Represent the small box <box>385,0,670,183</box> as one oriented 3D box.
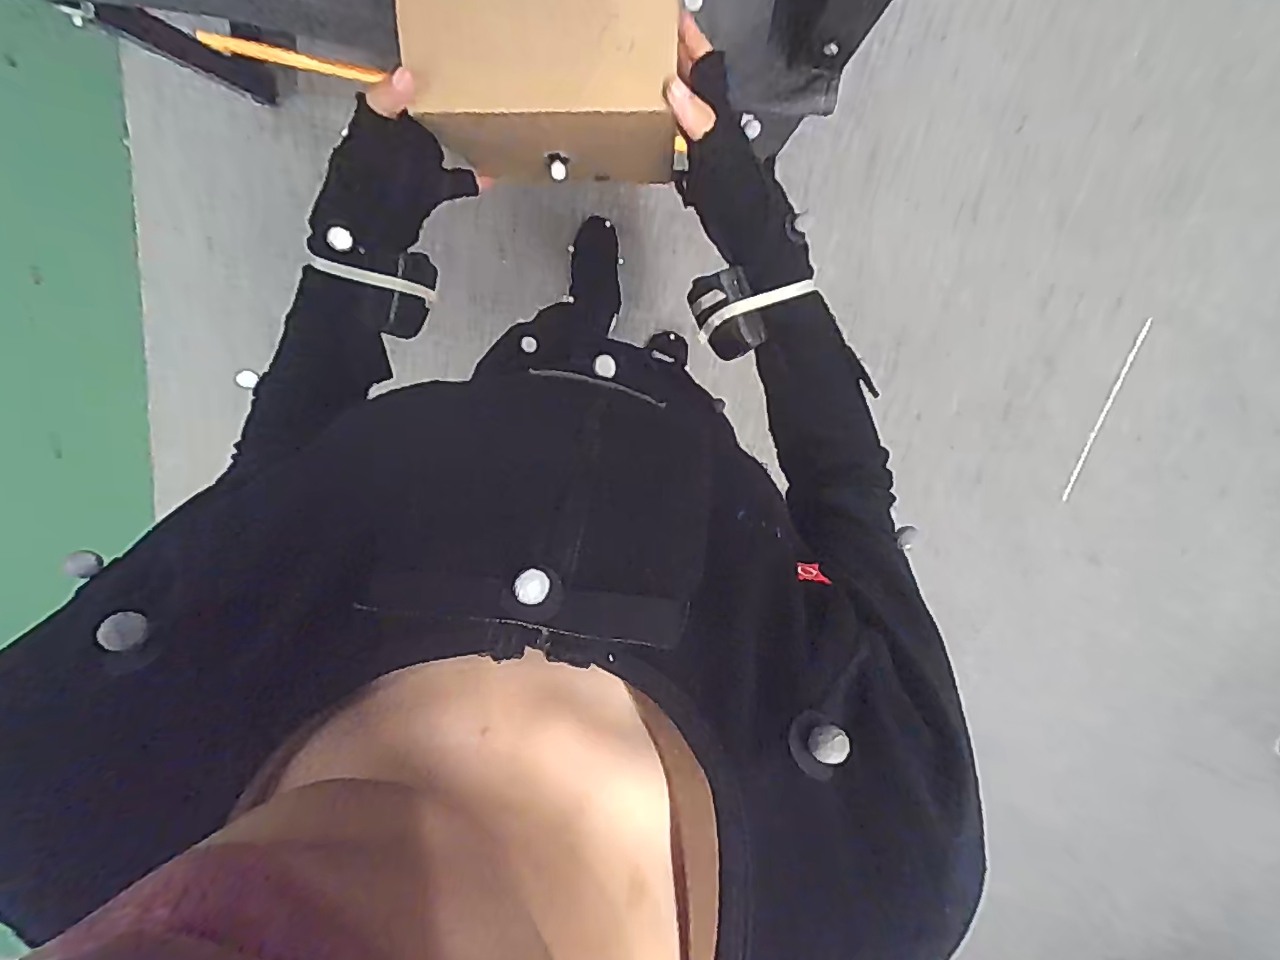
[{"bbox_3d":[-0.063,-0.324,0.383,0.168,0.176,0.179,1,105,2],"label":"small box"}]
